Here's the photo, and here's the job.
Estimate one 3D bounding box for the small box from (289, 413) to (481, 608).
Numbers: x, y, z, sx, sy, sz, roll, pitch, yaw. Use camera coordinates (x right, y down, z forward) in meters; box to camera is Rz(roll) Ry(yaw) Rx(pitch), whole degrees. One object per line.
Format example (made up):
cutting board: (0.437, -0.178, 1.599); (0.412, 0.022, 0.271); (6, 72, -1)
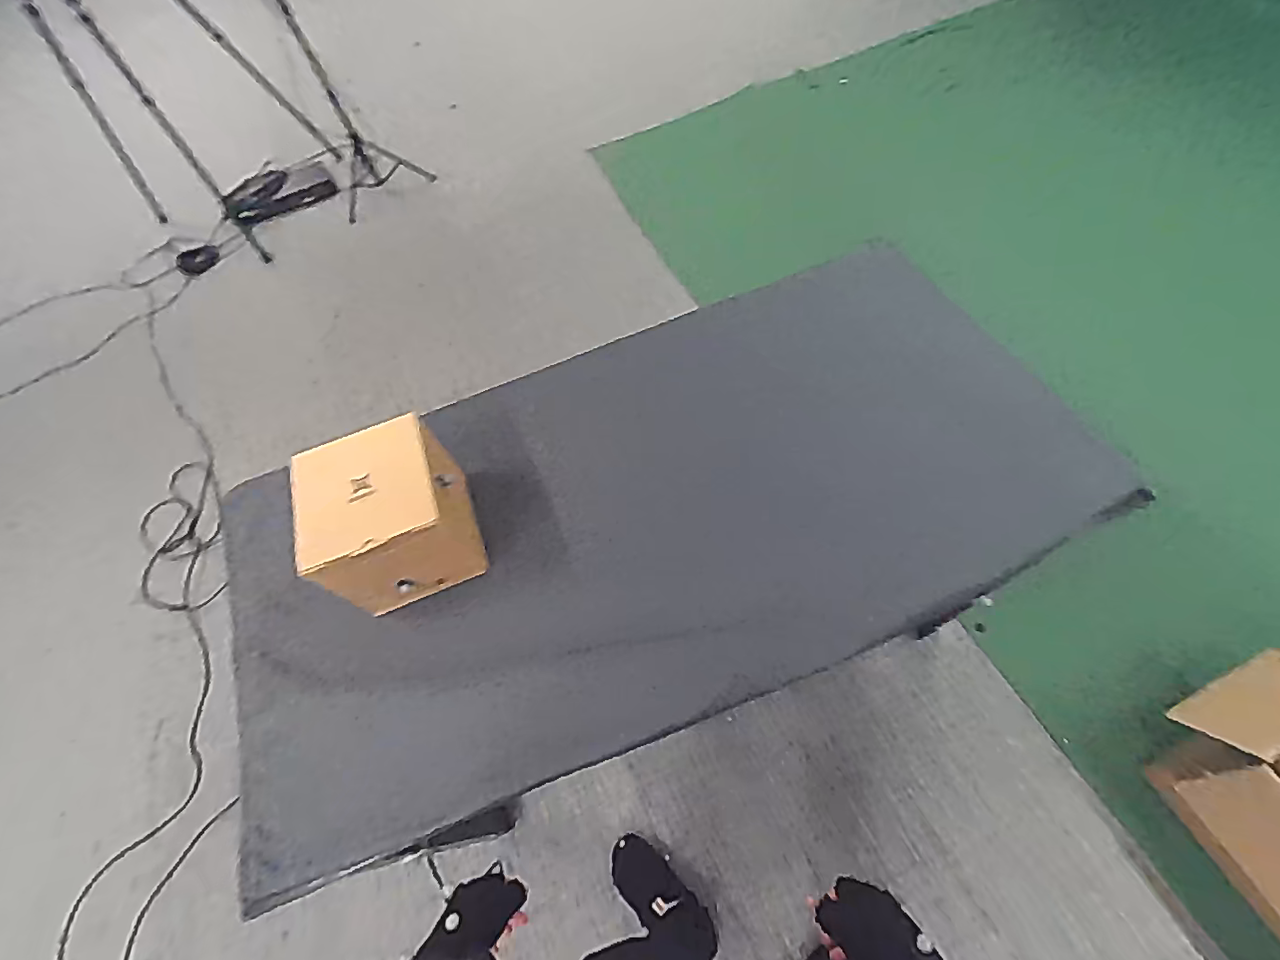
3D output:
small box: (-0.335, 0.046, 0.727); (0.168, 0.176, 0.179); (-22, 61, -6)
